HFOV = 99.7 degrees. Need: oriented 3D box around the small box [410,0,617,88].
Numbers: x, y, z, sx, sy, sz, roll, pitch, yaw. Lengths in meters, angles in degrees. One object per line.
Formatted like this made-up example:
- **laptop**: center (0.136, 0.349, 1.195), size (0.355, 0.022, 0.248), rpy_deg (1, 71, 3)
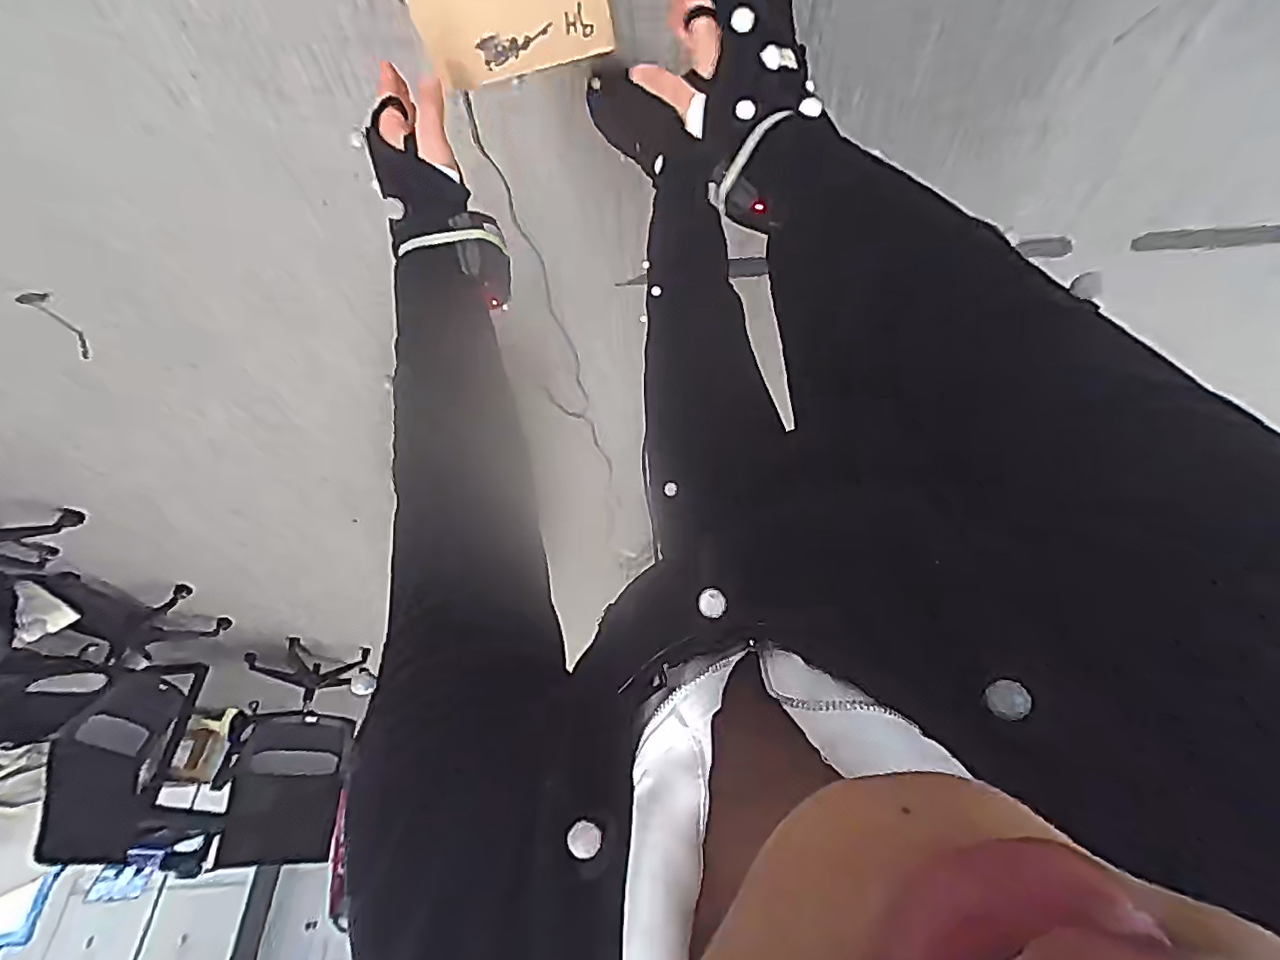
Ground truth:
- **small box**: center (-0.121, -0.486, 0.469), size (0.168, 0.176, 0.179), rpy_deg (-10, 143, 7)
